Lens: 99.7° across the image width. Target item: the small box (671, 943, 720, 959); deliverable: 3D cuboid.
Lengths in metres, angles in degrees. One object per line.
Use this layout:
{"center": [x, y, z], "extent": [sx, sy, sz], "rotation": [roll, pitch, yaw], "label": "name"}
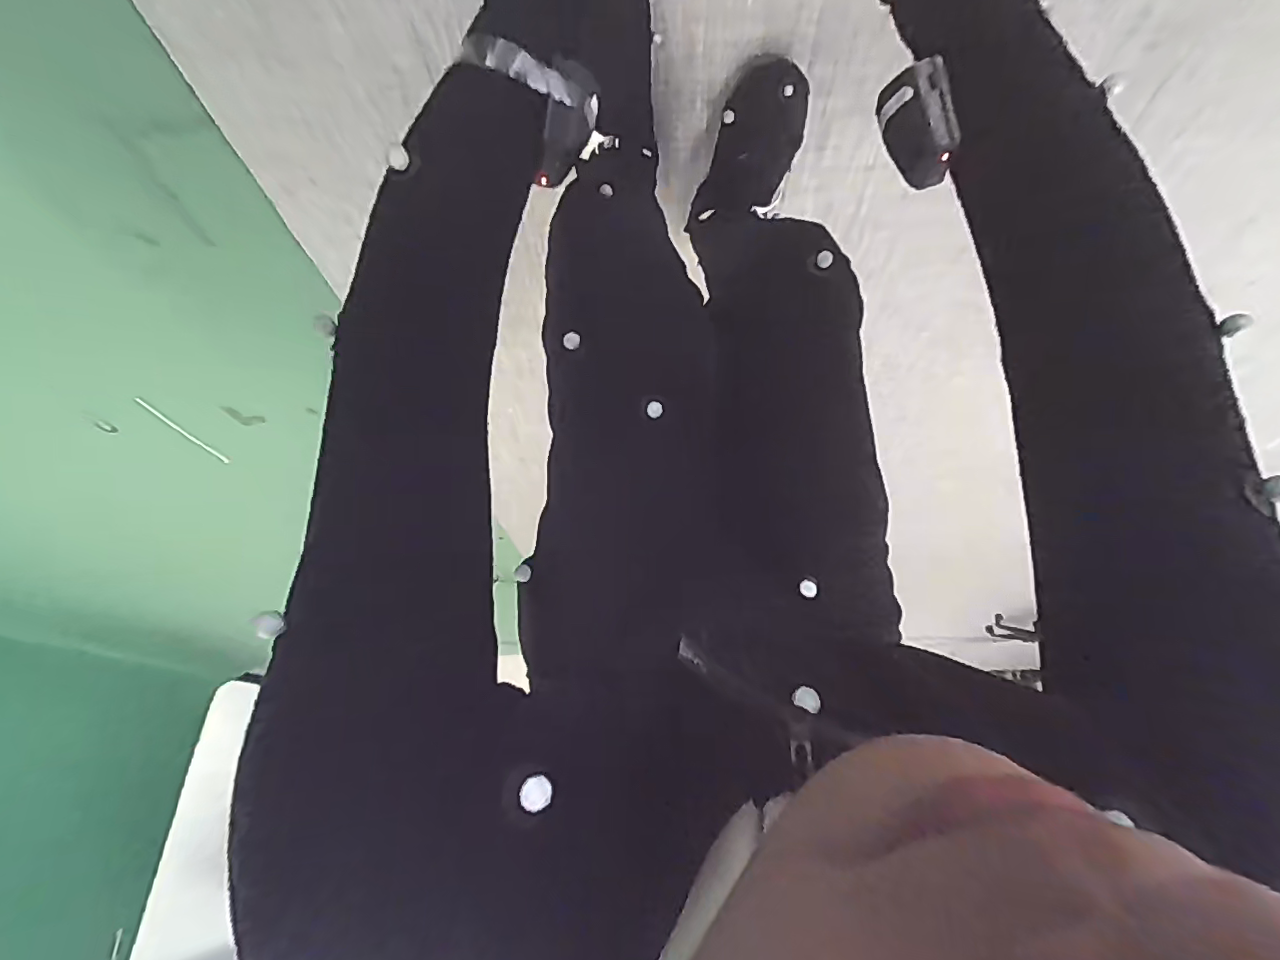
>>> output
{"center": [0.203, 1.794, 1.941], "extent": [0.179, 0.176, 0.168], "rotation": [-3, 153, 3], "label": "small box"}
